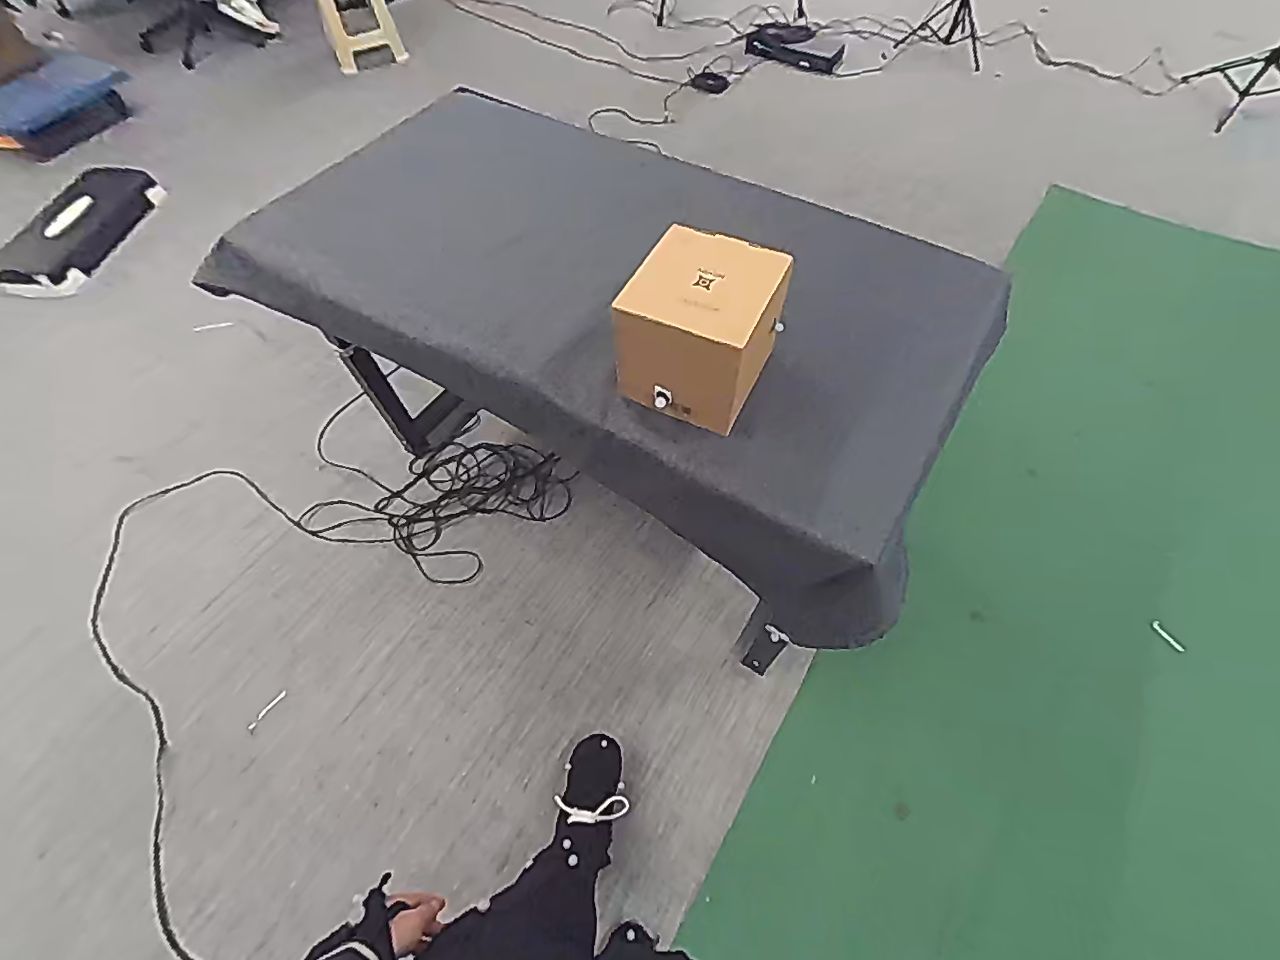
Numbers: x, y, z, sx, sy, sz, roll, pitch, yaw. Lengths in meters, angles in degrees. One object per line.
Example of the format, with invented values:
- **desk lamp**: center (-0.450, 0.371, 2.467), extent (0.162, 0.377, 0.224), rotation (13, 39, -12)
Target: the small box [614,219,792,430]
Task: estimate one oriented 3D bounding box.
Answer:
- **small box**: center (0.079, -0.199, 0.708), extent (0.168, 0.176, 0.179), rotation (22, 63, 14)
